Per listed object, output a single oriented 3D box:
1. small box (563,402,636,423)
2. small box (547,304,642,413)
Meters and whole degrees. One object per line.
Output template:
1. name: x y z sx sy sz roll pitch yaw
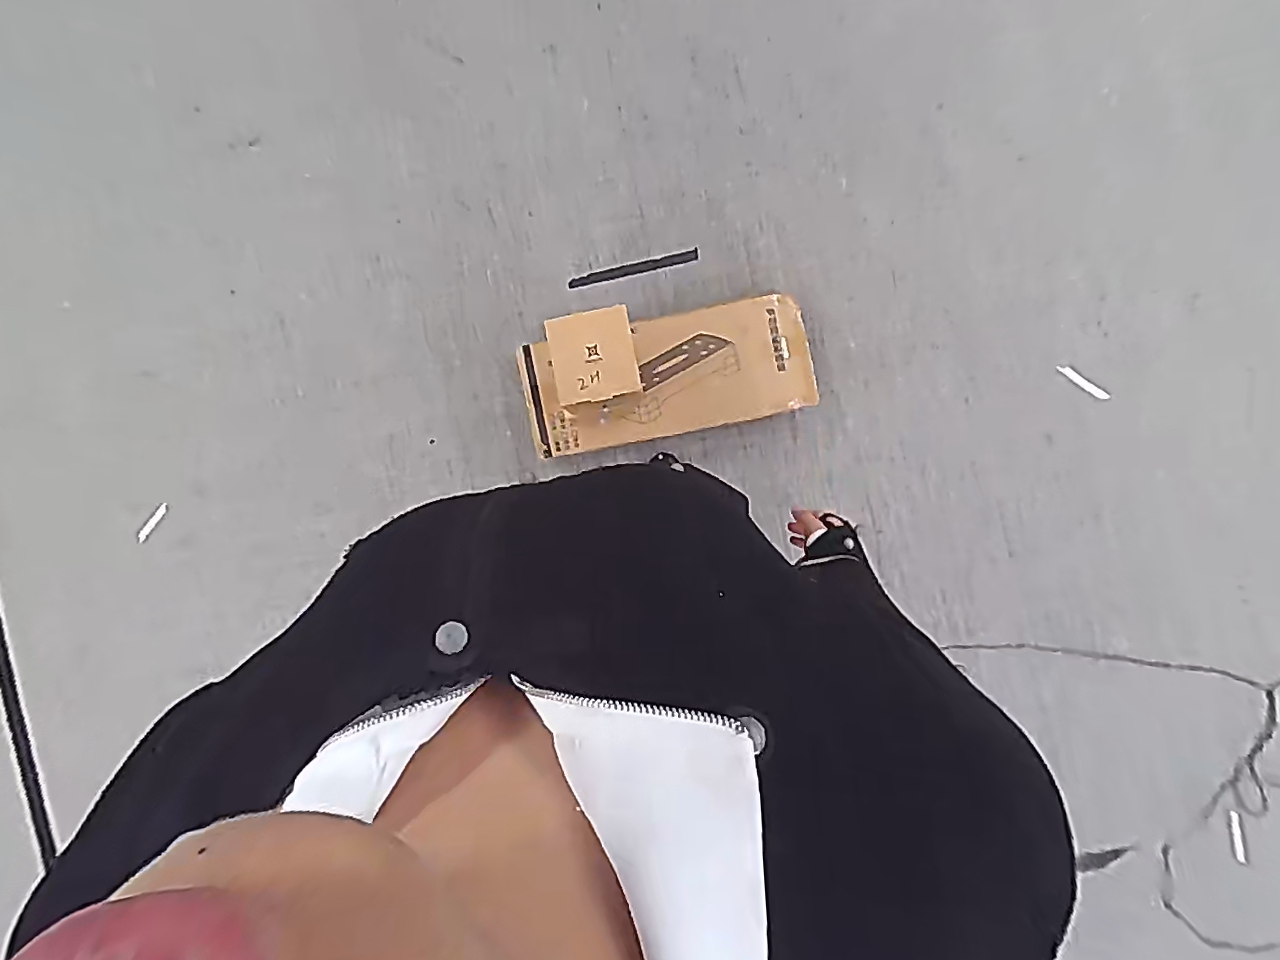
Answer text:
1. small box: -0.106 -0.242 1.307 0.168 0.176 0.179 -12 92 1
2. small box: -0.090 -0.249 1.141 0.168 0.176 0.179 -11 91 1
